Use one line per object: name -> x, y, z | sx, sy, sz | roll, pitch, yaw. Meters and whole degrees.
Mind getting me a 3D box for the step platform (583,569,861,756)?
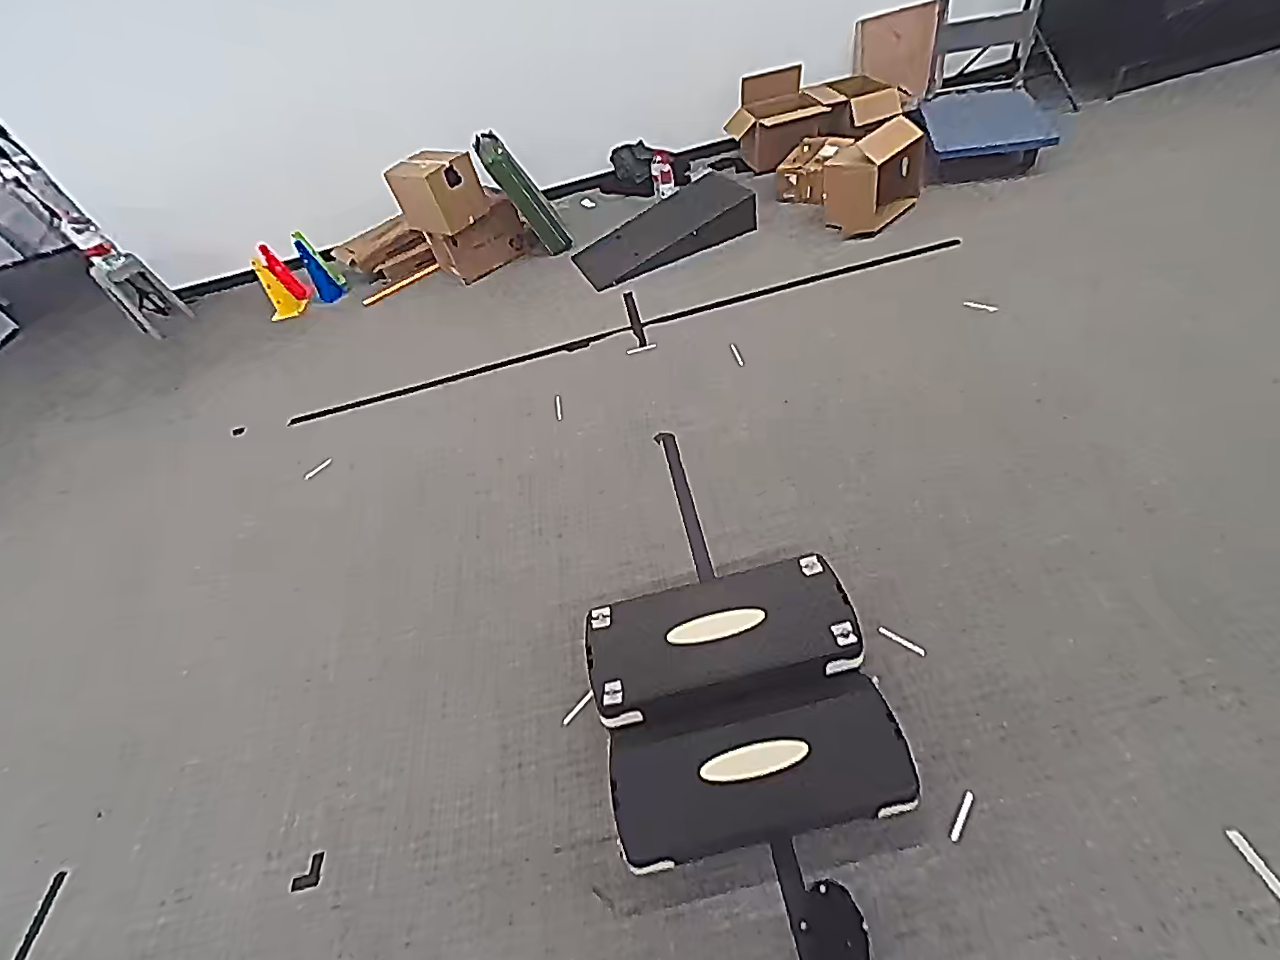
step platform -> 0.196, 0.460, 1.388 | 0.684, 0.204, 0.286 | -15, 47, 0
